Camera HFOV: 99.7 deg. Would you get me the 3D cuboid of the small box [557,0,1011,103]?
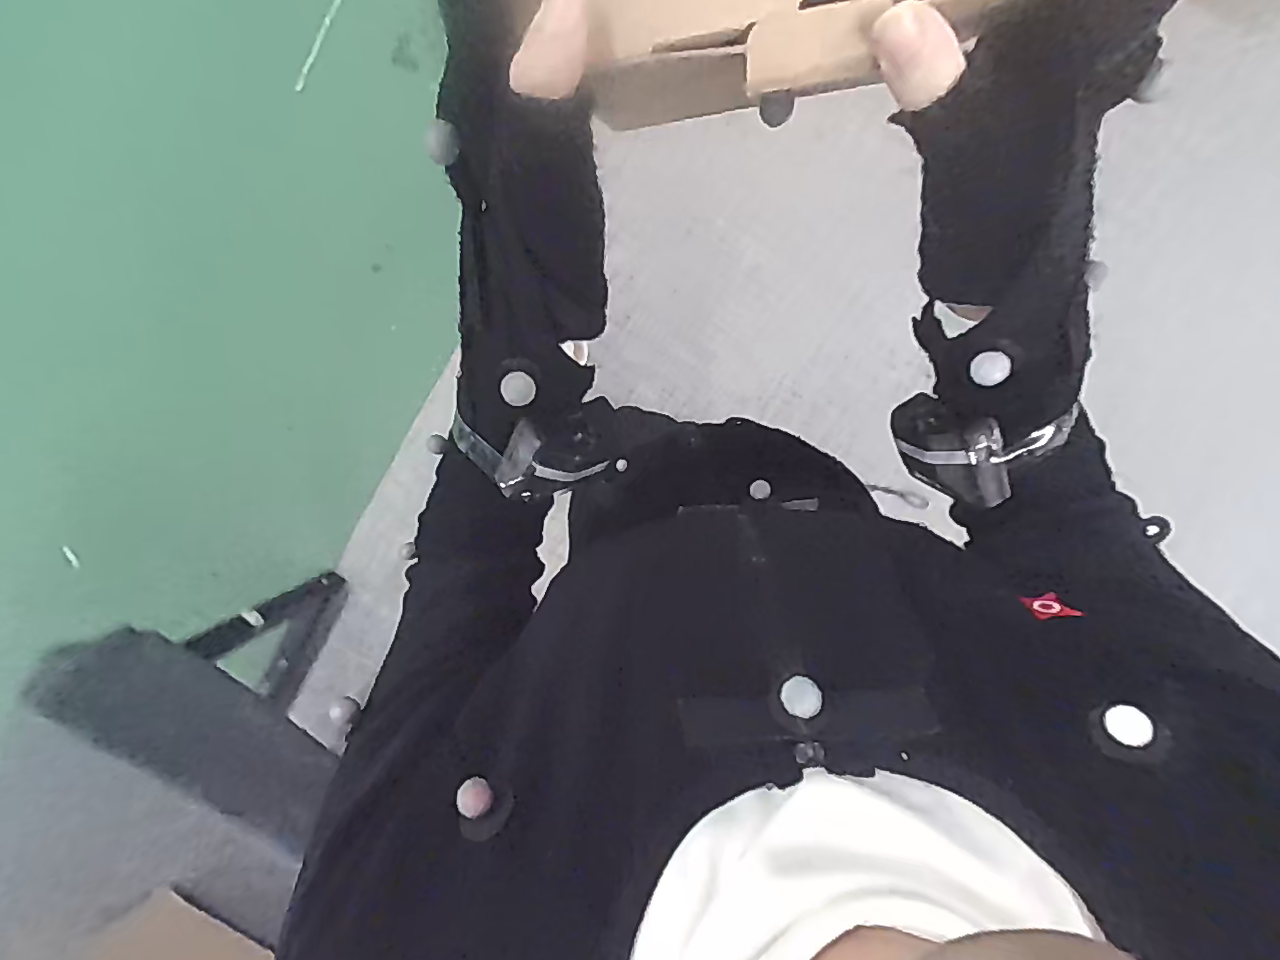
[{"bbox_3d":[0.051,-0.259,0.201,0.168,0.176,0.179,-5,119,9],"label":"small box"}]
